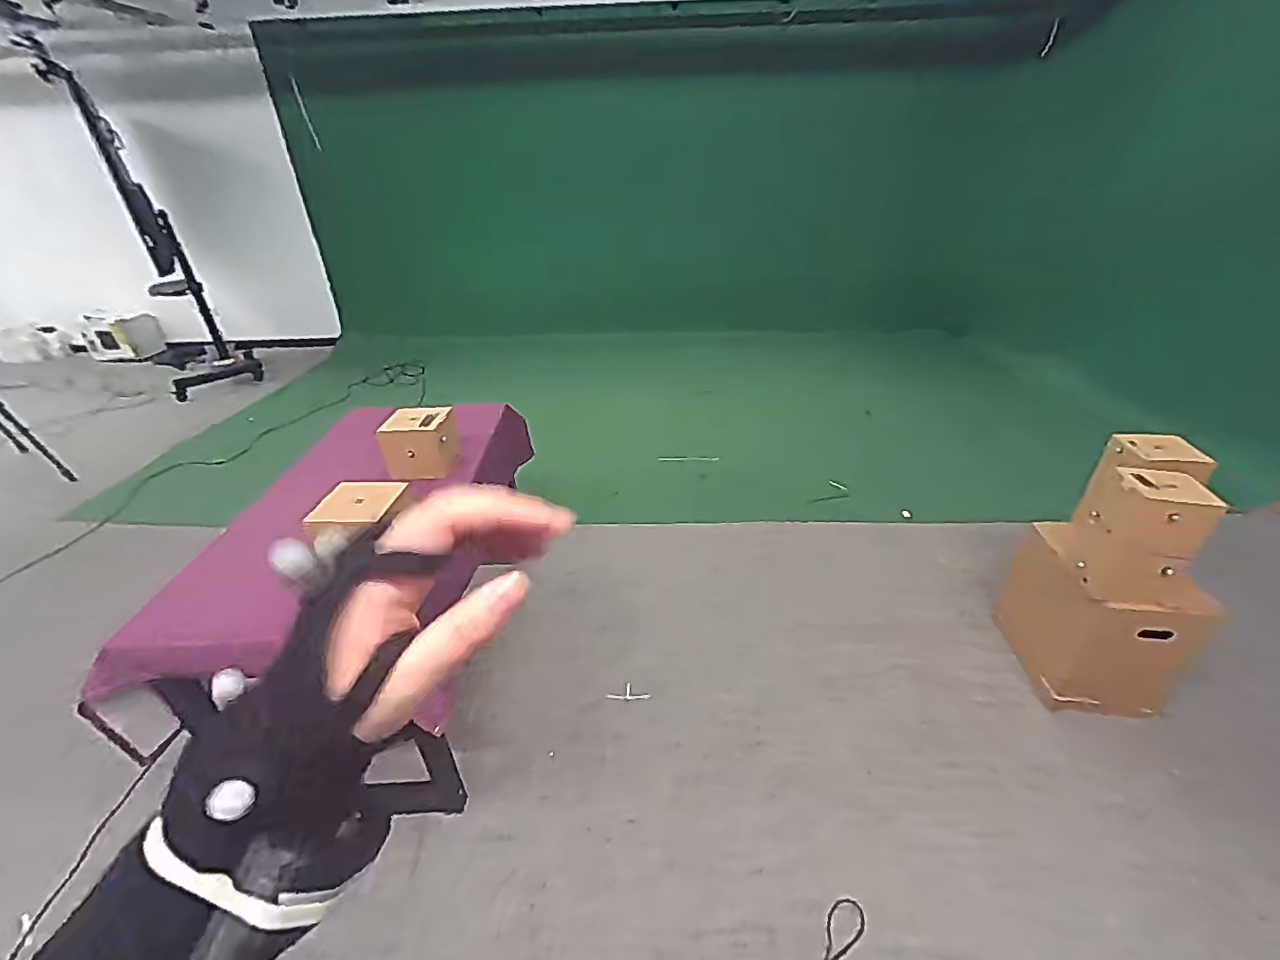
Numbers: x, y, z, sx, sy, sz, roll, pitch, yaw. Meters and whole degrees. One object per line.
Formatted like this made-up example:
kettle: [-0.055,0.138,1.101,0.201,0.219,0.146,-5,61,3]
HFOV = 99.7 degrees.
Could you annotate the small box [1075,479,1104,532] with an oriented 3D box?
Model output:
small box: [1.515,0.113,1.686,0.168,0.176,0.179,2,31,7]

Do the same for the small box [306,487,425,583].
small box: [-0.646,0.131,1.296,0.179,0.176,0.168,0,31,4]

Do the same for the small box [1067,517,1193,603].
small box: [1.357,0.223,1.512,0.179,0.176,0.168,4,31,8]

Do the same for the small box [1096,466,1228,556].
small box: [1.356,0.081,1.428,0.179,0.176,0.168,7,32,11]

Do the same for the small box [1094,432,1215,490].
small box: [1.506,-0.026,1.597,0.179,0.176,0.168,4,31,9]
